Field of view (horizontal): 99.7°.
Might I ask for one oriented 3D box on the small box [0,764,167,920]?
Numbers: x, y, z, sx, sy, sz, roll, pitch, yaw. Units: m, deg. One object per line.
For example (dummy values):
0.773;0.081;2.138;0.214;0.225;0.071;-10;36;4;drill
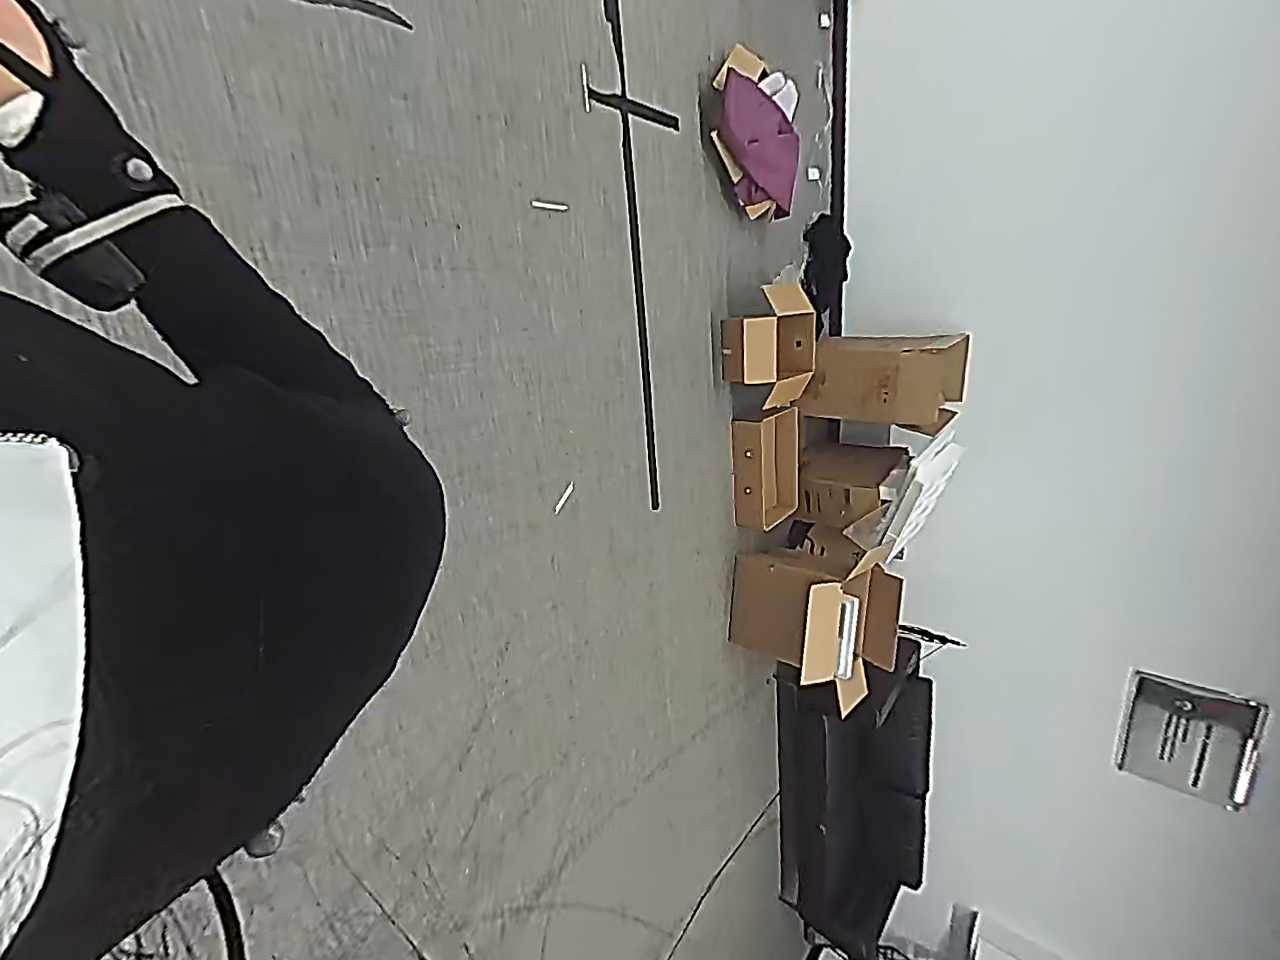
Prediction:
-0.954;0.579;0.931;0.168;0.176;0.179;-25;116;-45;small box
